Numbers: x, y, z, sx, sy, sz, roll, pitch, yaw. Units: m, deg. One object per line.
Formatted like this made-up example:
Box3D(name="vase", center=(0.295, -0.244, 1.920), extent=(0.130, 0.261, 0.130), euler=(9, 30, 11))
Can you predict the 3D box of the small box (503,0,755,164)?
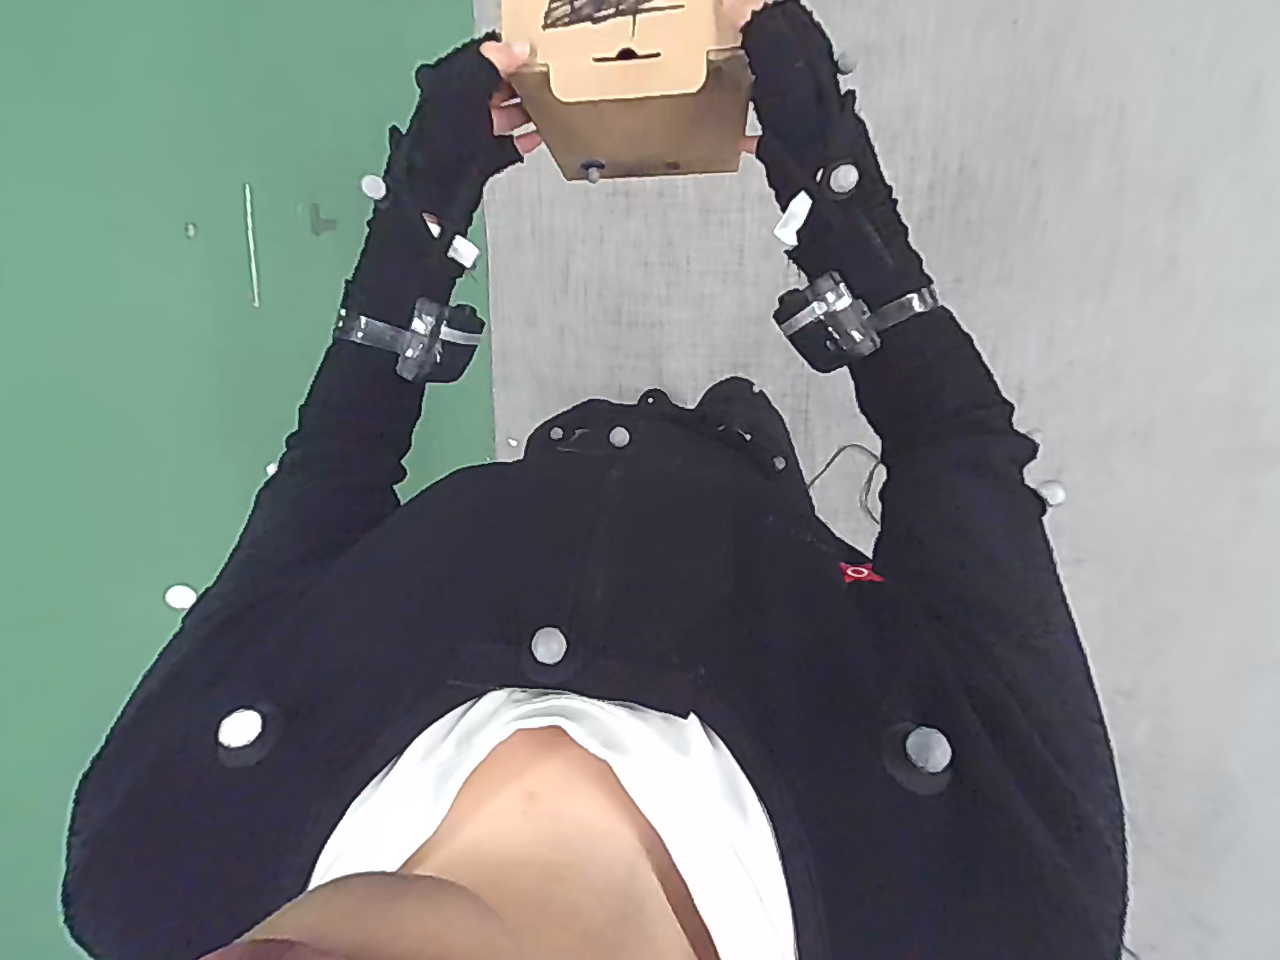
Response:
Box3D(name="small box", center=(0.002, -0.366, 0.415), extent=(0.168, 0.176, 0.179), euler=(1, 95, 6))
